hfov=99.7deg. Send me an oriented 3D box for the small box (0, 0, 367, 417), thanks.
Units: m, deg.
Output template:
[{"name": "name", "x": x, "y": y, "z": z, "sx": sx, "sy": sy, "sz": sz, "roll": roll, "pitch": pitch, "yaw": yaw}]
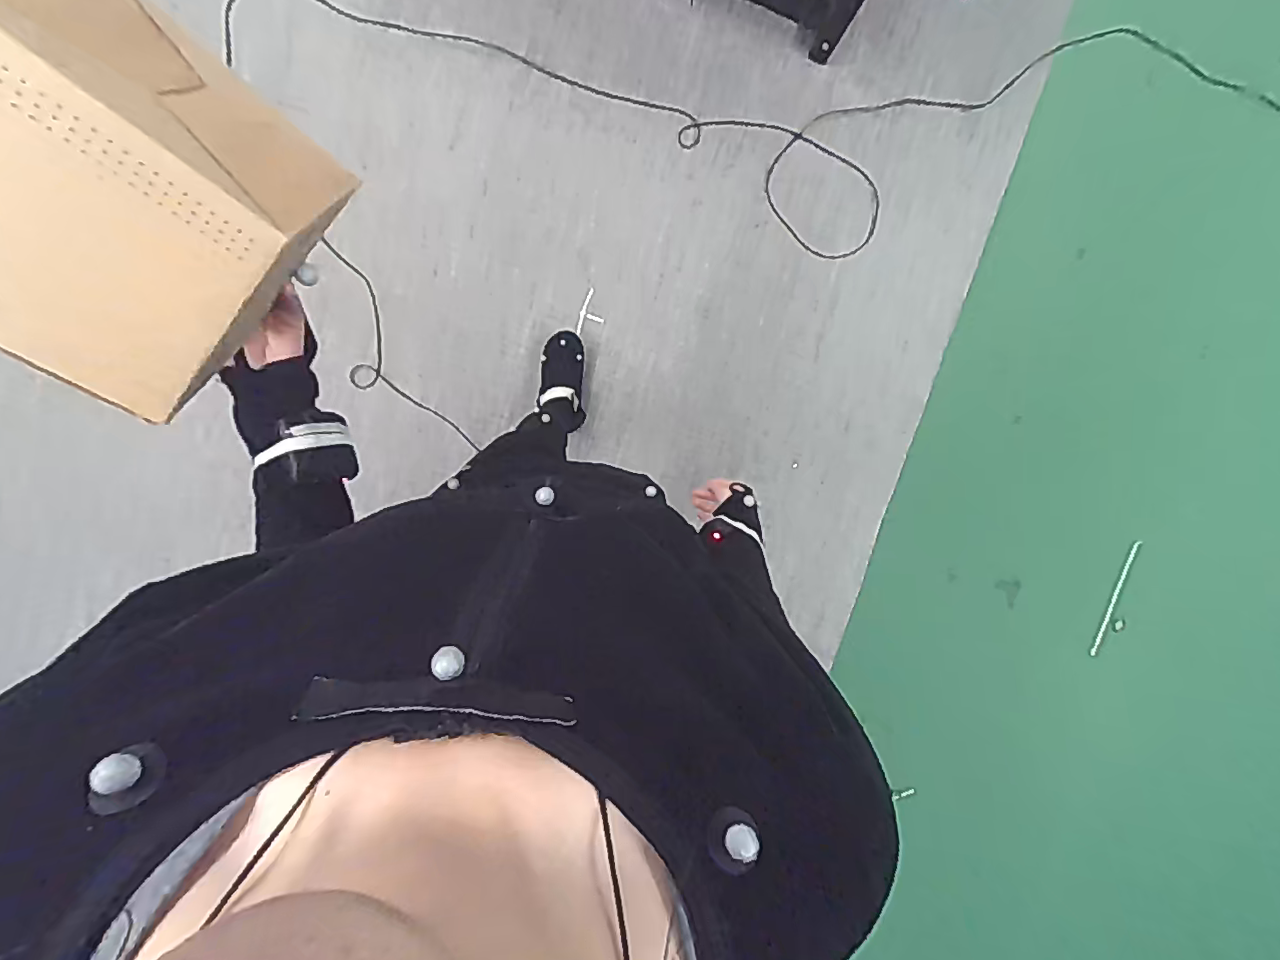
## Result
[{"name": "small box", "x": -0.314, "y": -0.182, "z": 0.344, "sx": 0.176, "sy": 0.168, "sz": 0.179, "roll": -39, "pitch": 126, "yaw": 21}]
